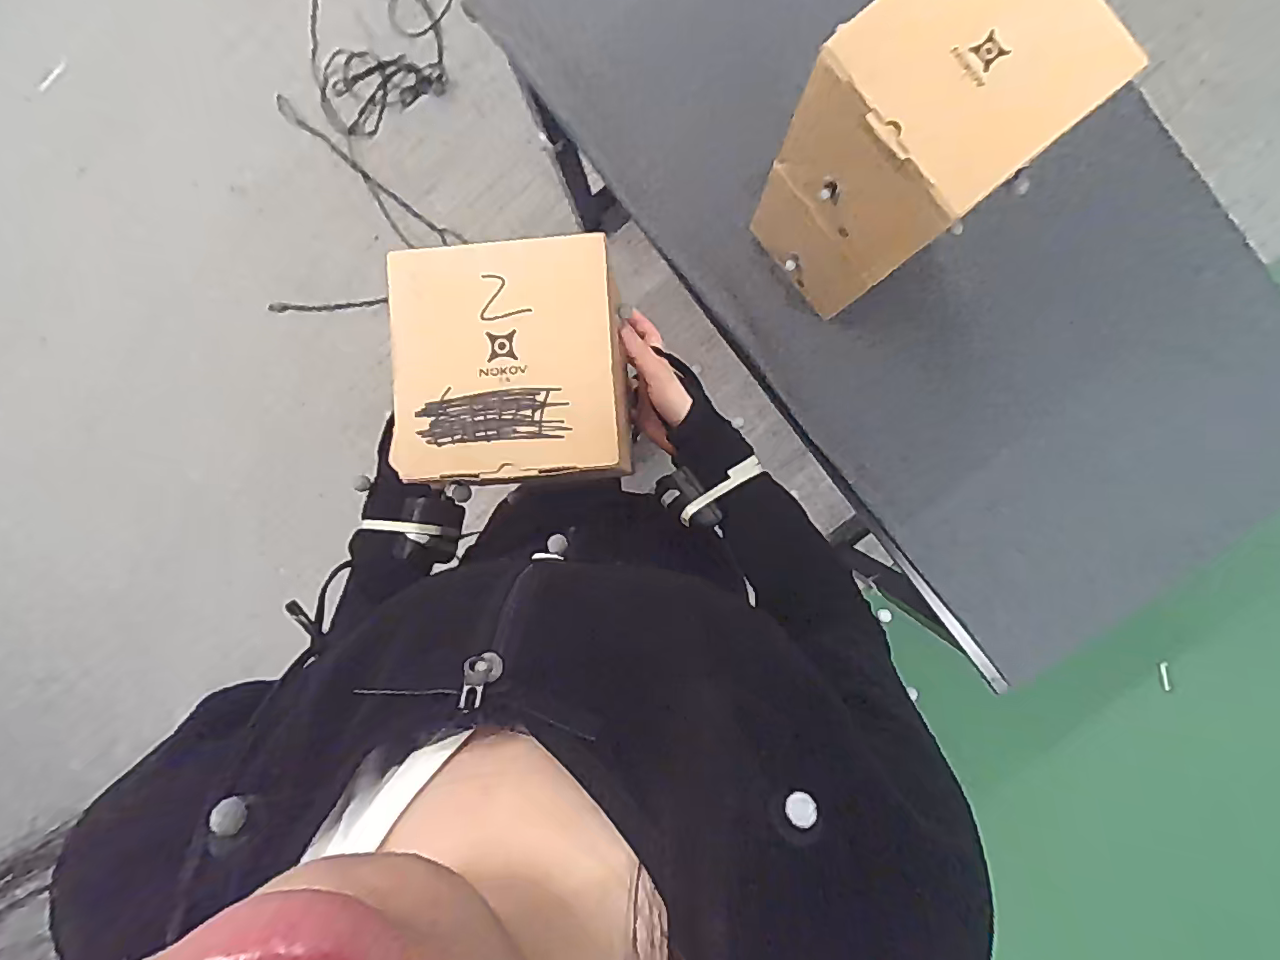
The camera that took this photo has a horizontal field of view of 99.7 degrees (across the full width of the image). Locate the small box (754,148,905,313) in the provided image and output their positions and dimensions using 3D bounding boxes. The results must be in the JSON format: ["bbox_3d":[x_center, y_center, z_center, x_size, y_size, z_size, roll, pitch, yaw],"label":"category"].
[{"bbox_3d":[0.258,-0.328,0.635,0.179,0.176,0.168,-39,91,4],"label":"small box"}]

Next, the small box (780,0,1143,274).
[{"bbox_3d":[0.251,-0.318,0.473,0.179,0.176,0.168,-39,91,4],"label":"small box"}]
